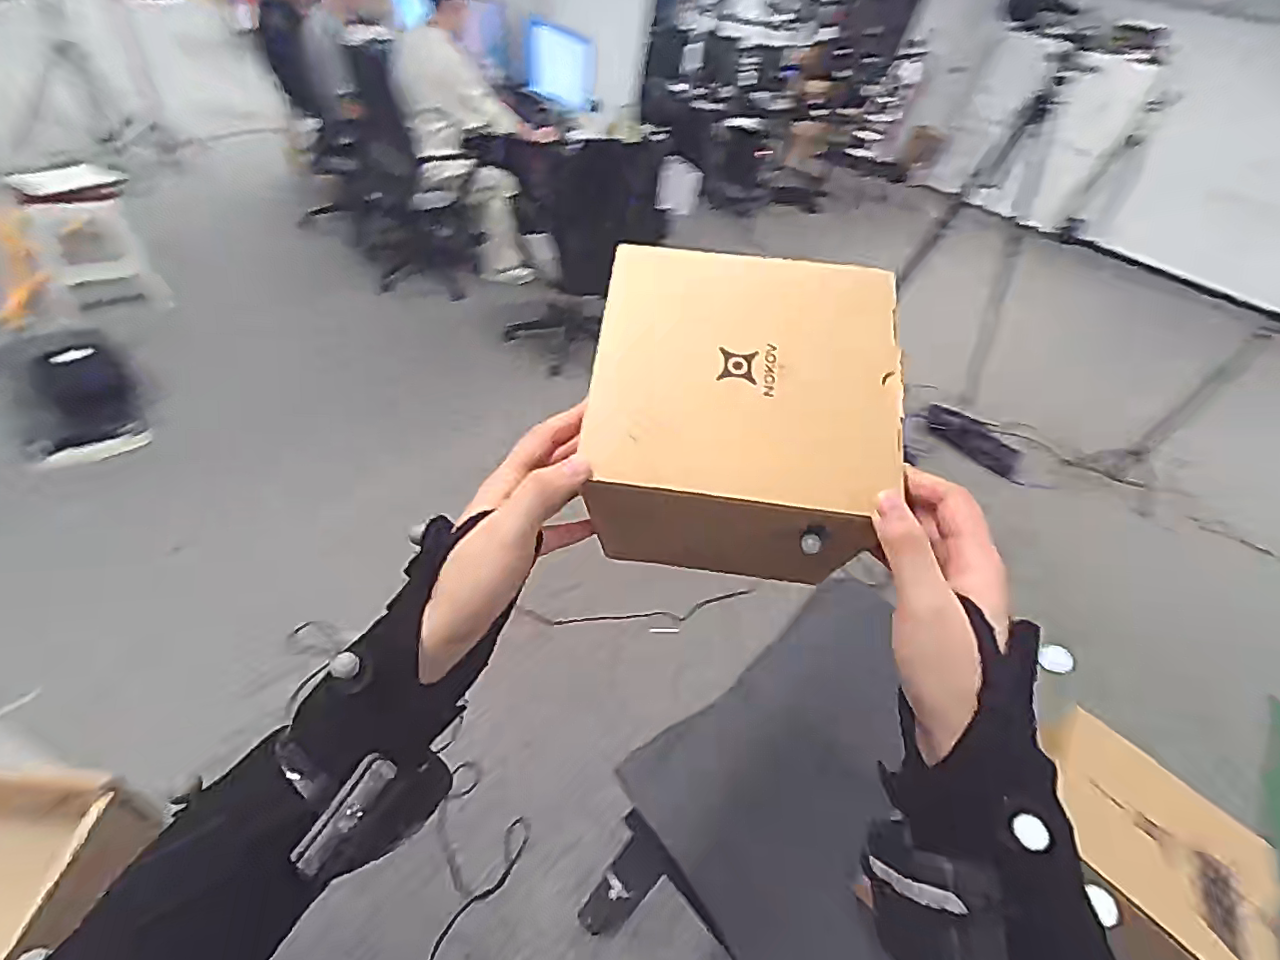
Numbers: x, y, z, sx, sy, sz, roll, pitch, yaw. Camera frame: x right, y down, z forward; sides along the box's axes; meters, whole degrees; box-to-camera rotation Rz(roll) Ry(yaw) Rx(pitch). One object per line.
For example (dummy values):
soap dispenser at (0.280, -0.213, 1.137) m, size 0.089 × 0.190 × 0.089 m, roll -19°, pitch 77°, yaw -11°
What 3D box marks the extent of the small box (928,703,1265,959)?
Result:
small box at (0.432, 0.367, 0.530) m, size 0.168 × 0.176 × 0.179 m, roll -28°, pitch 58°, yaw -37°
